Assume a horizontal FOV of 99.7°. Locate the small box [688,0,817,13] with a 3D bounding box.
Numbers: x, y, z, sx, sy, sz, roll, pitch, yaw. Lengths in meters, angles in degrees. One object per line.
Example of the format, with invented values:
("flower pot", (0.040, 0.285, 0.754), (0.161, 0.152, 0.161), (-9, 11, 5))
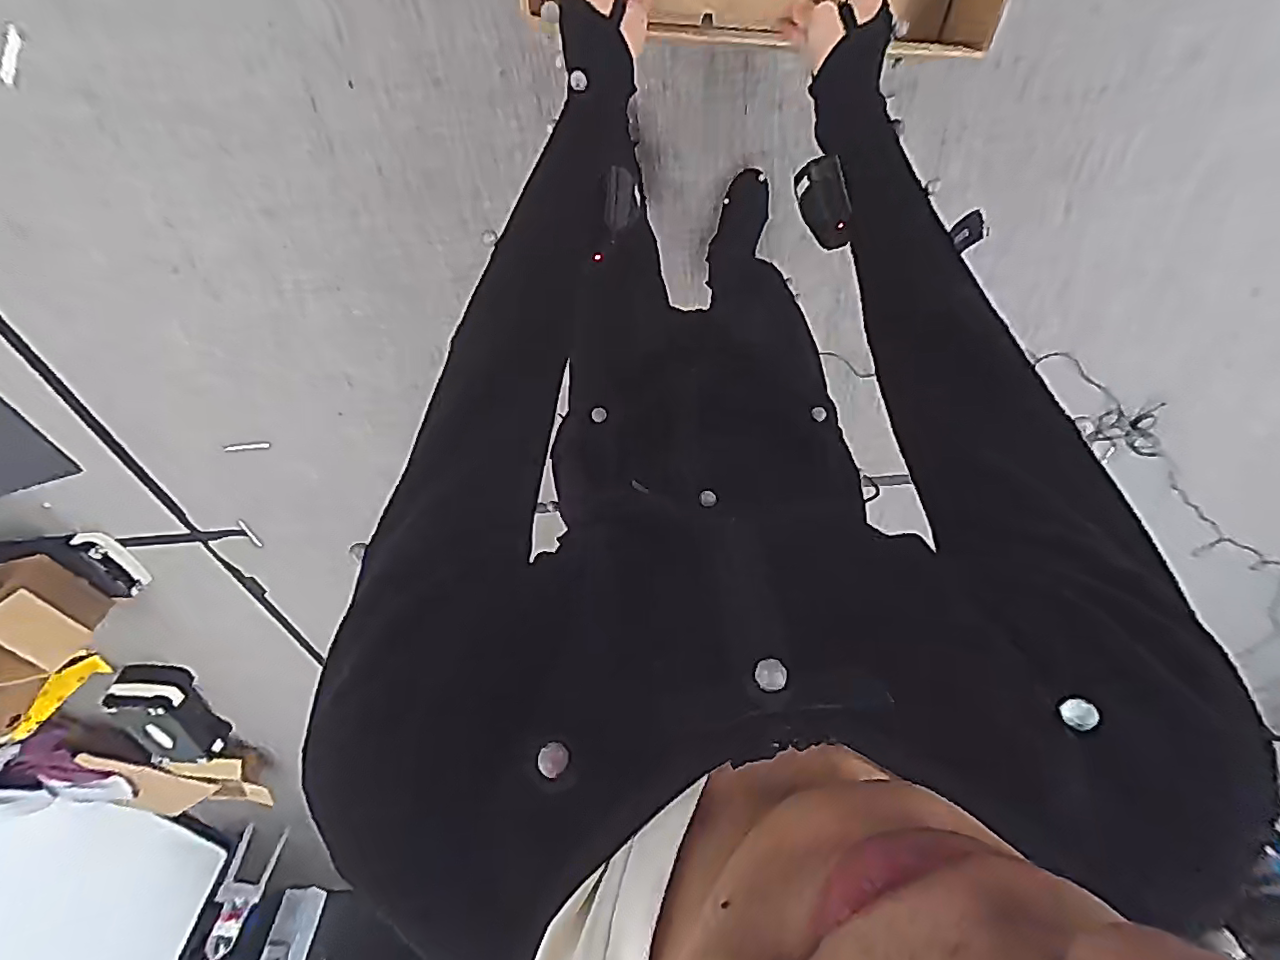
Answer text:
("small box", (0.075, -0.540, 0.485), (0.179, 0.176, 0.168), (0, 136, -5))
